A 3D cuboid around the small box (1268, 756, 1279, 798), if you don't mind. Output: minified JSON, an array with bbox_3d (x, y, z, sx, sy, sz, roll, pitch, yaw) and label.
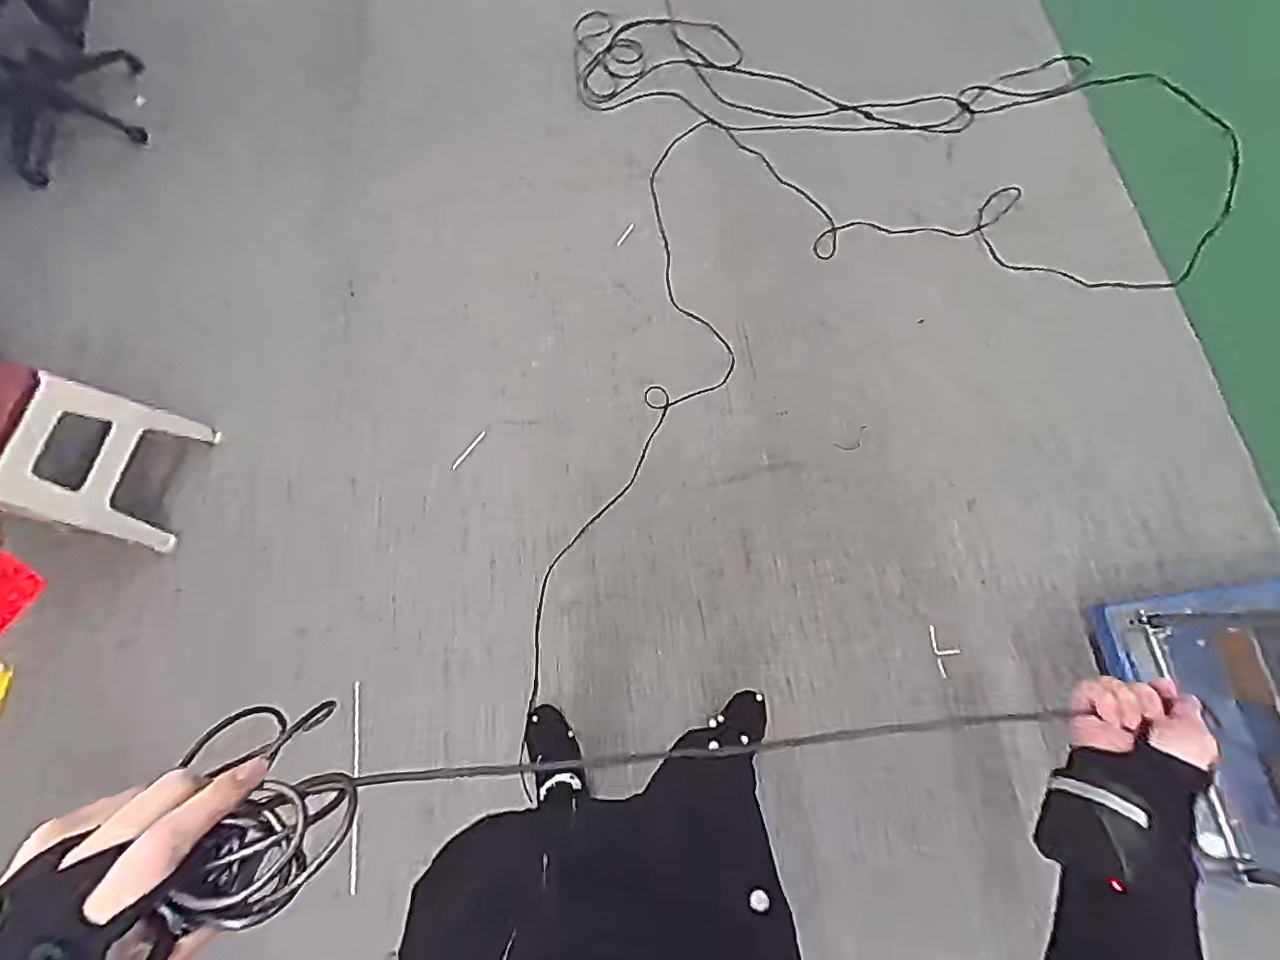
[{"bbox_3d":[1.422,0.638,1.053,0.179,0.176,0.168,-6,74,2],"label":"small box"}]
